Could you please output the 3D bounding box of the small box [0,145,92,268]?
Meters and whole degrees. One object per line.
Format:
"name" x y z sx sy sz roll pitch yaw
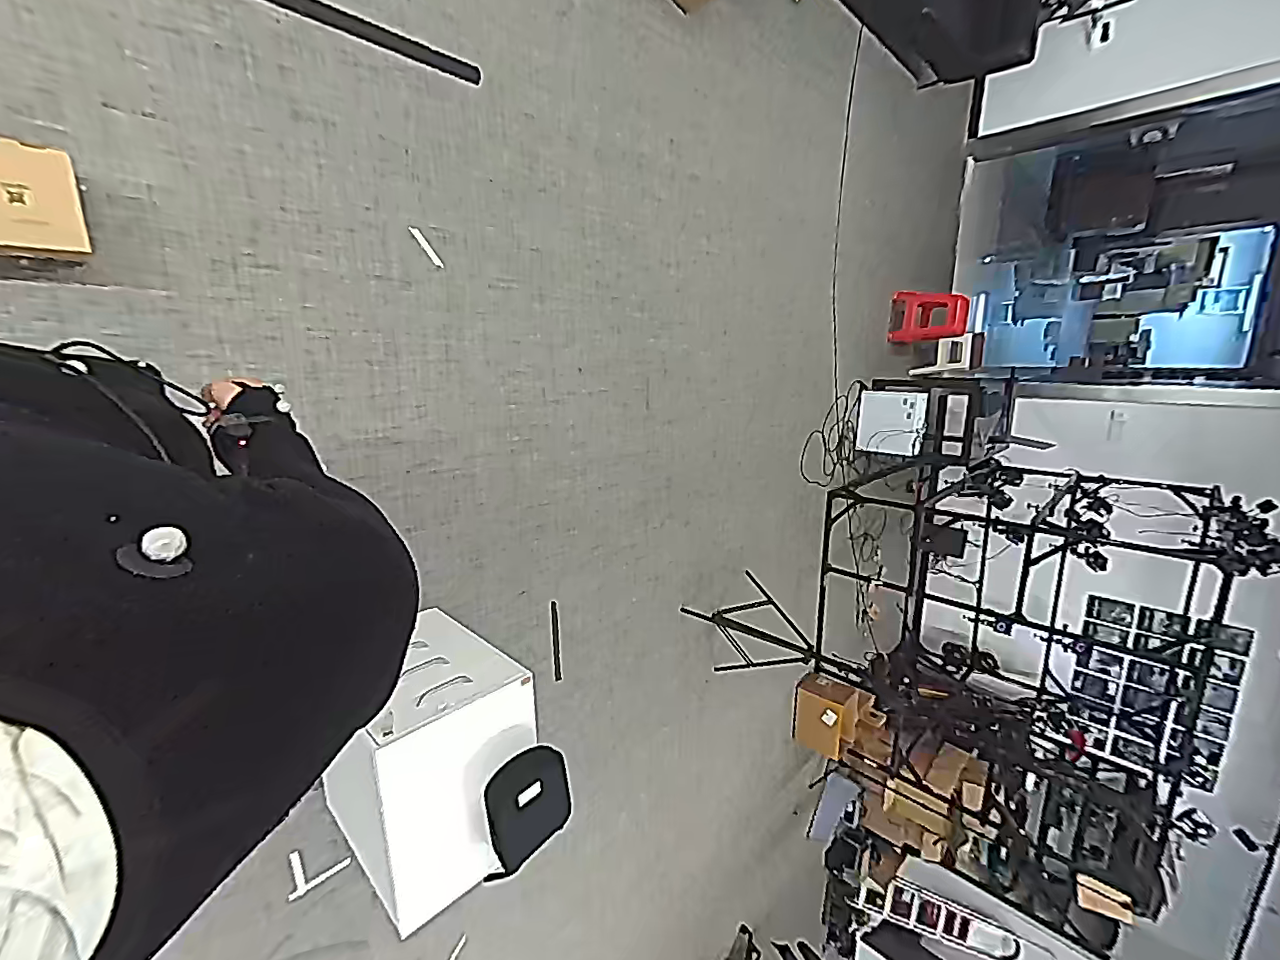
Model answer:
"small box" -1.151 -0.502 1.000 0.168 0.176 0.179 -14 109 -43
